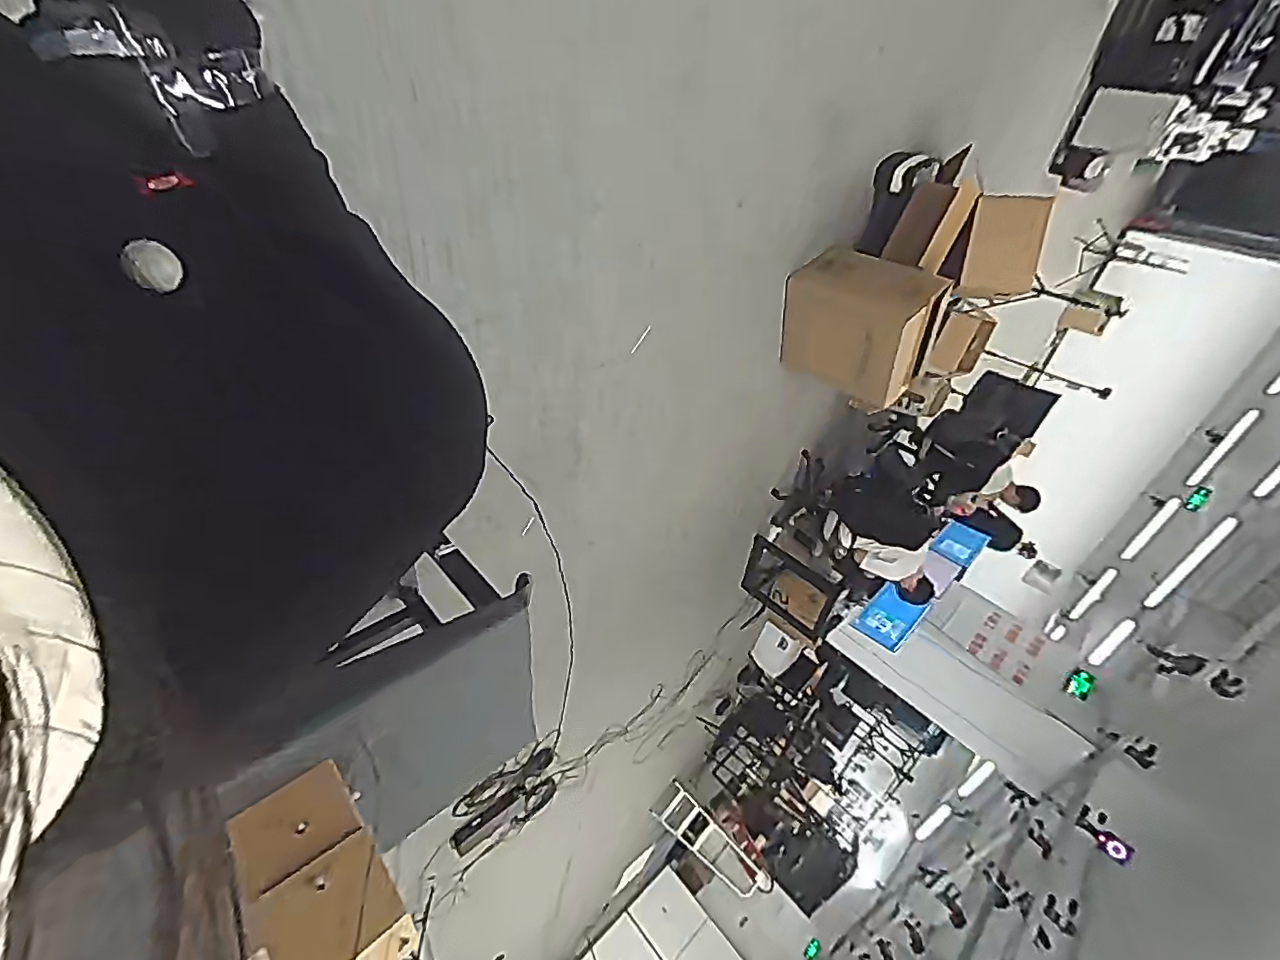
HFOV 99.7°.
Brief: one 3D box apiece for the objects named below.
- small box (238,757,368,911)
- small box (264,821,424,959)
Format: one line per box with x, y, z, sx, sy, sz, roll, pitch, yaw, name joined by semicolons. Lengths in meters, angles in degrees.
-0.601;0.658;0.988;0.179;0.176;0.168;-27;139;-37;small box
-0.487;0.720;0.891;0.179;0.176;0.168;-27;138;-36;small box
